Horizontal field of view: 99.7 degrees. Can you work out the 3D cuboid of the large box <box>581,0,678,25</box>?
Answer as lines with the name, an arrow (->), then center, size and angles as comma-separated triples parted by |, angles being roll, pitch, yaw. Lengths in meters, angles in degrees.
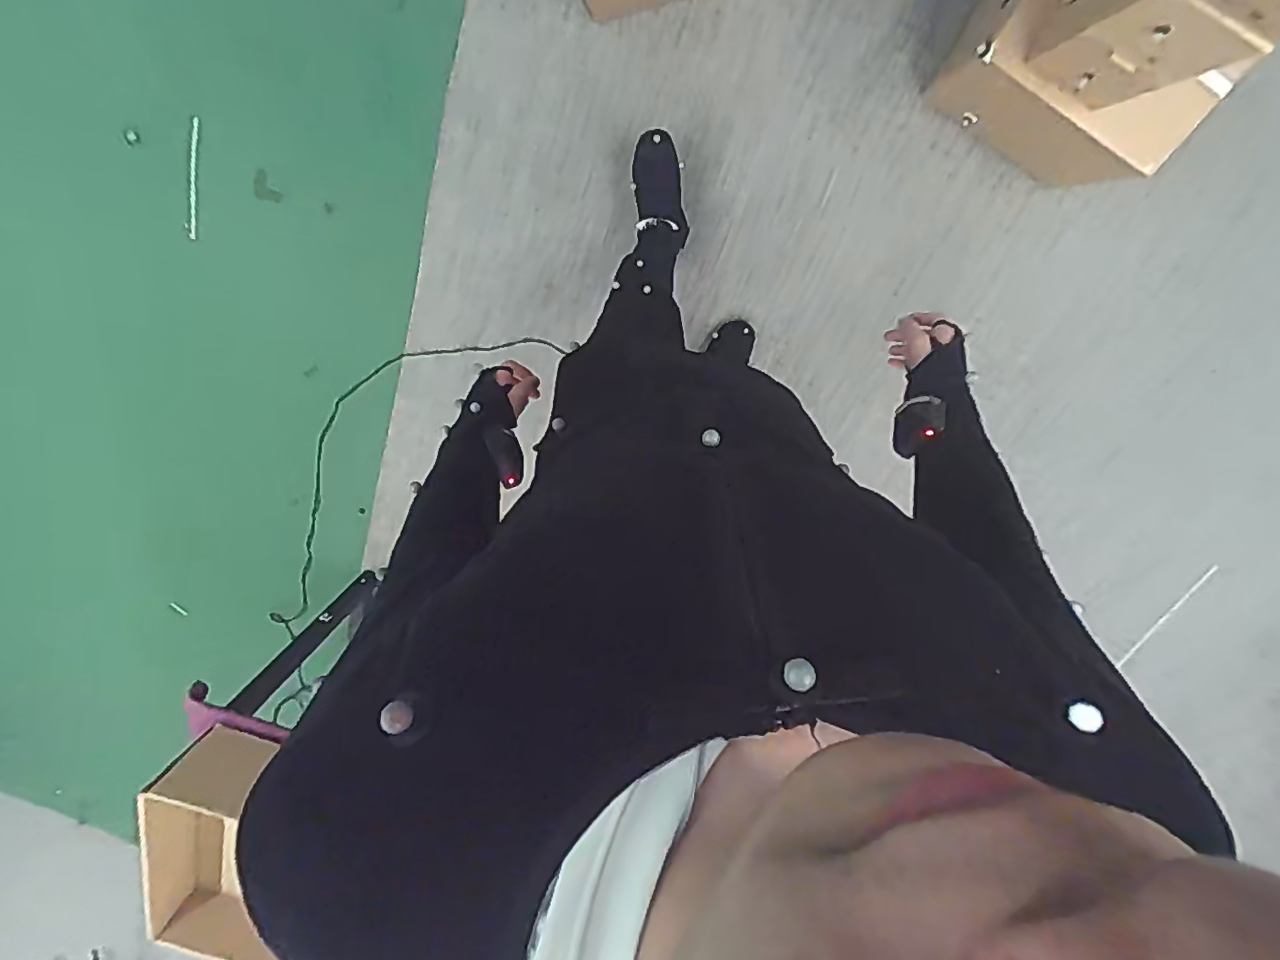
large box -> 0.040, -1.168, 1.039 | 0.408, 0.320, 0.320 | -8, 111, 11

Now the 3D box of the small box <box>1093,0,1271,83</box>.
small box -> 0.769, -0.679, 0.724 | 0.168, 0.176, 0.179 | 27, 113, -5

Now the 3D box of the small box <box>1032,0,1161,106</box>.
small box -> 0.783, -0.746, 0.872 | 0.168, 0.176, 0.179 | 27, 114, -6
